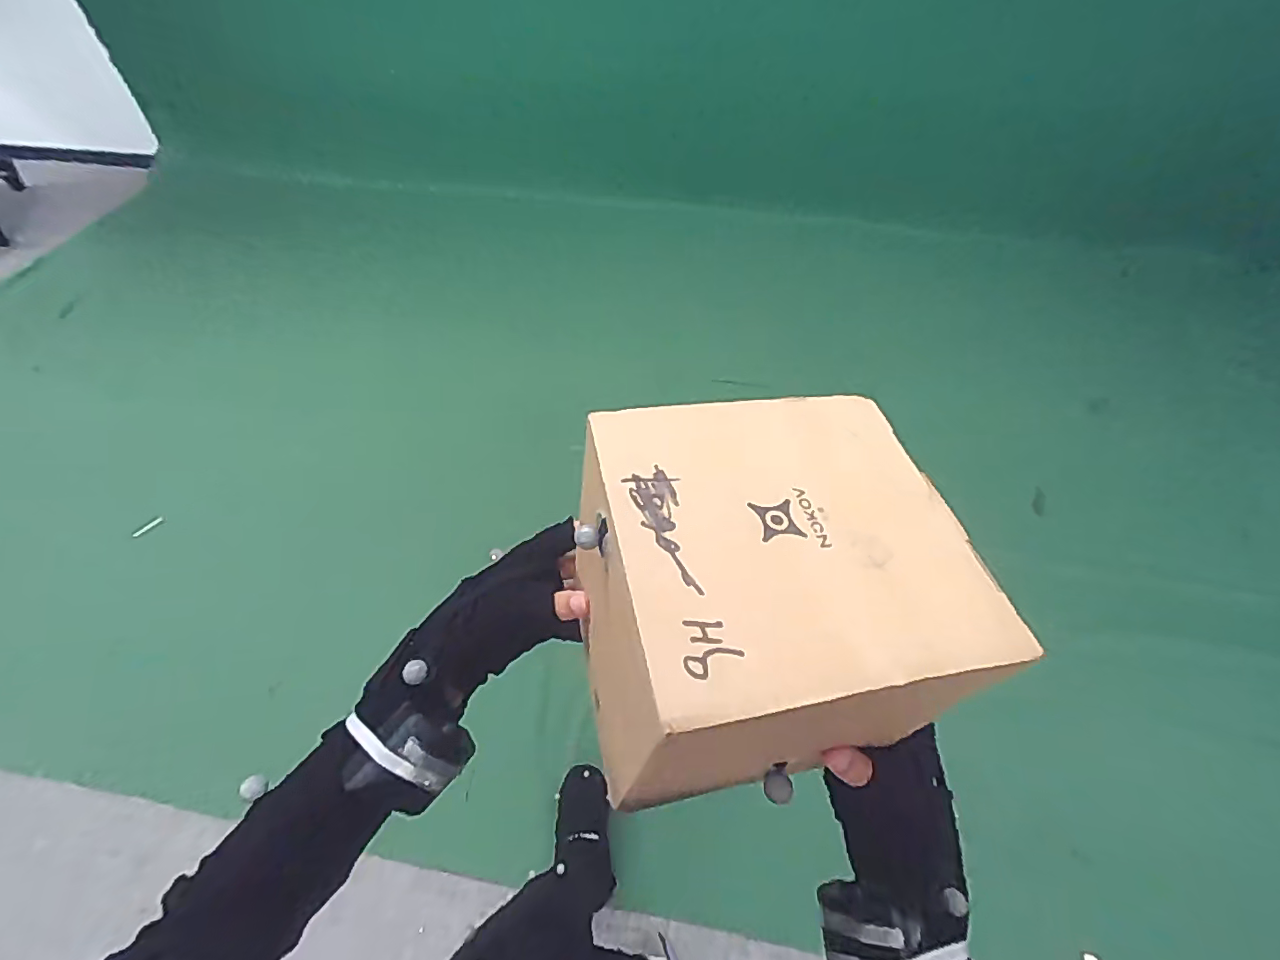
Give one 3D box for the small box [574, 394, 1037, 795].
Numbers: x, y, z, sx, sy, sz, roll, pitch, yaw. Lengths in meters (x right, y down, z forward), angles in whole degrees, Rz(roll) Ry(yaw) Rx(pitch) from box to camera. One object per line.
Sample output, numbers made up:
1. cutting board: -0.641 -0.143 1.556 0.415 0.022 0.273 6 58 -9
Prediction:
1. small box: 0.062 0.067 0.321 0.179 0.176 0.168 -4 51 -15
